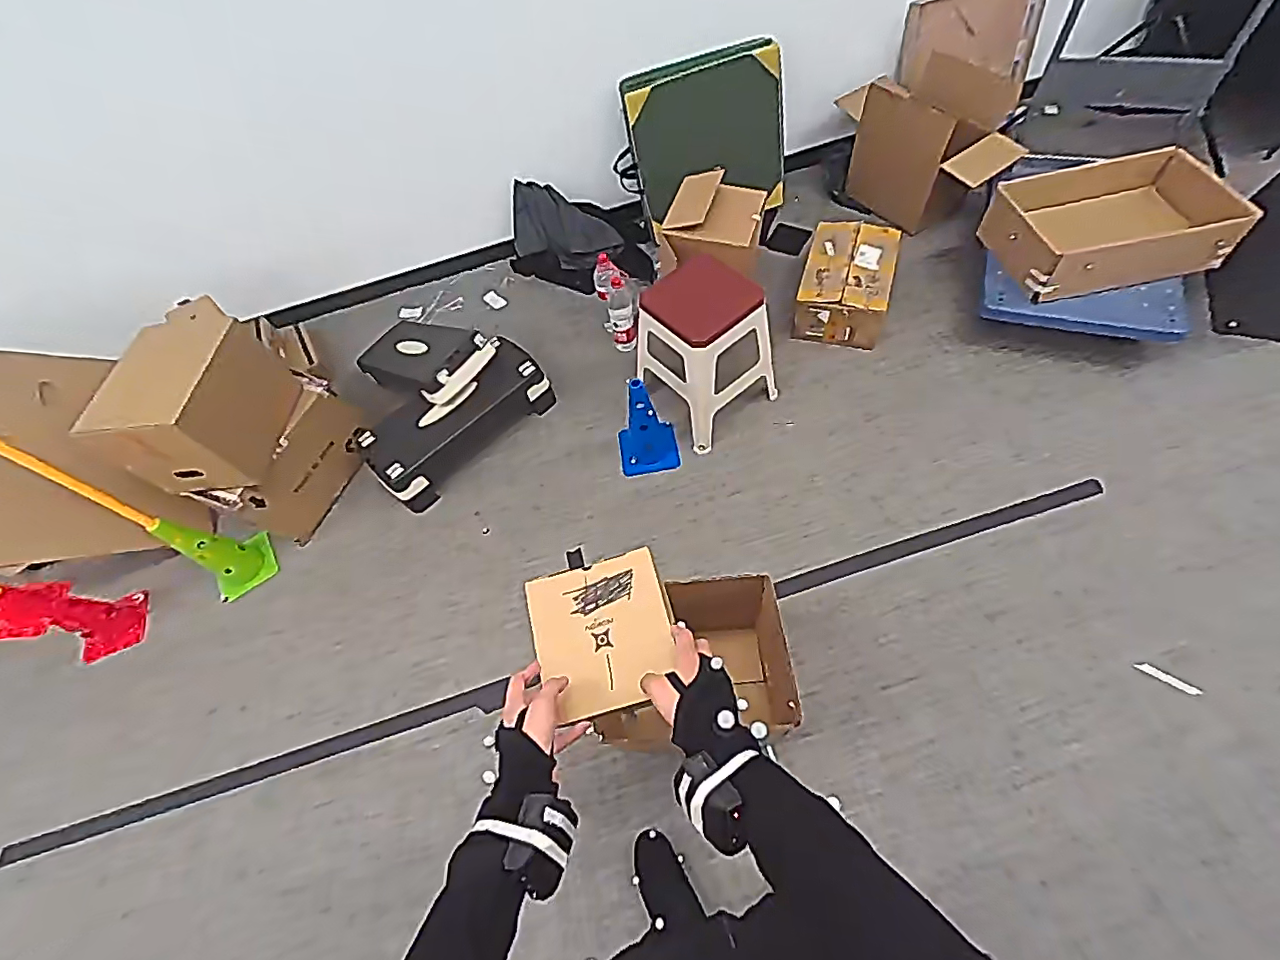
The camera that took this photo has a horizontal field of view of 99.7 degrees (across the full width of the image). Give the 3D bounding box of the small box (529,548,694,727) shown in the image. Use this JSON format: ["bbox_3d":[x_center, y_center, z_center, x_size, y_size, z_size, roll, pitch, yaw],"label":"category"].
[{"bbox_3d":[-0.031,0.212,0.709,0.168,0.176,0.179,-16,66,2],"label":"small box"}]
